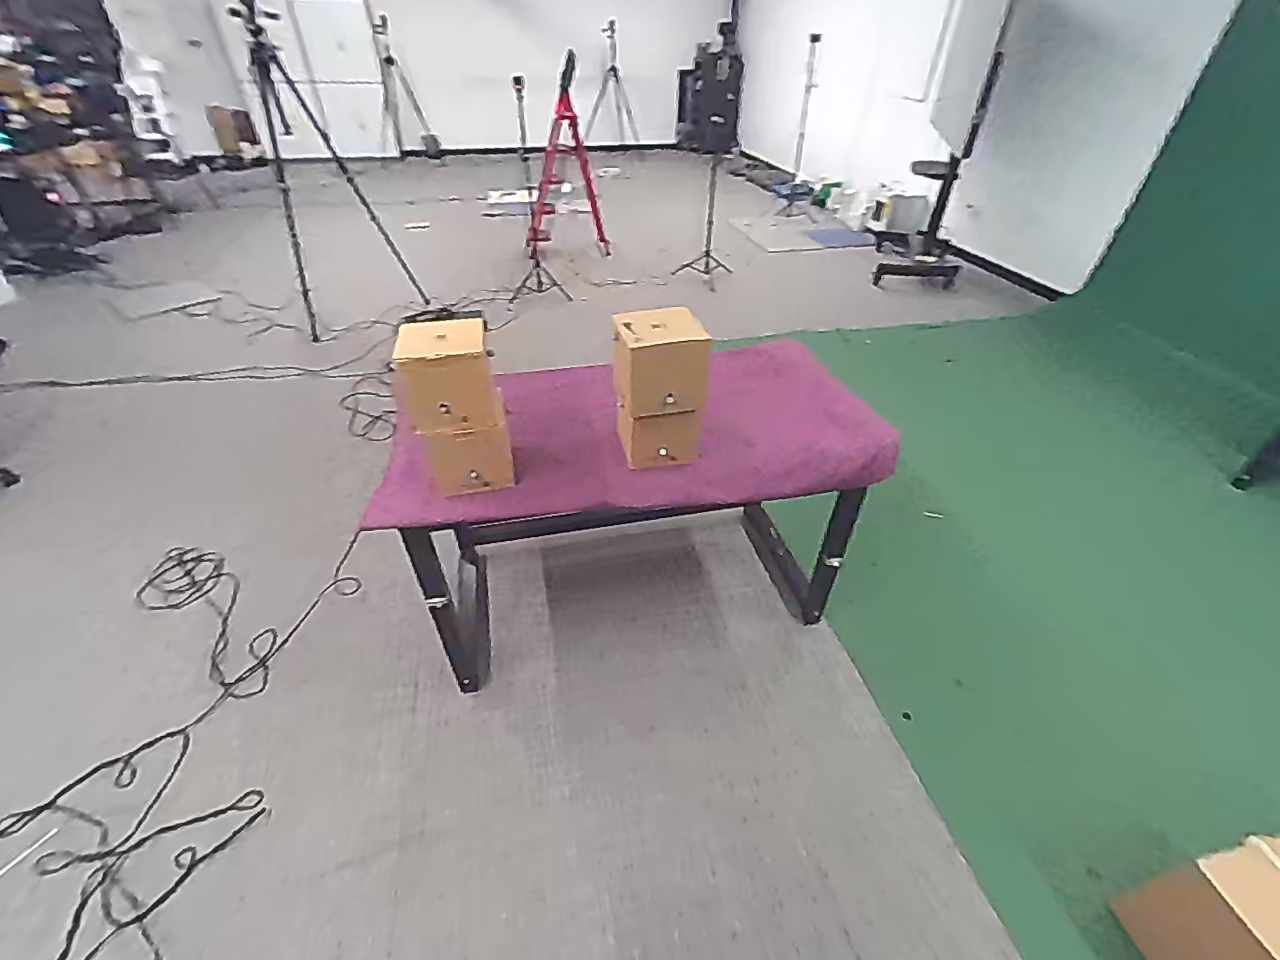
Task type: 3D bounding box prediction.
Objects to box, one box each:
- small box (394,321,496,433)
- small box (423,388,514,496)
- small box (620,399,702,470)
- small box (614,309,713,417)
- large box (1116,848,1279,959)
[{"bbox_3d":[-0.395,-0.216,1.123,0.168,0.176,0.179,-8,39,-11],"label":"small box"},{"bbox_3d":[-0.380,-0.087,1.221,0.168,0.176,0.179,-9,39,-11],"label":"small box"},{"bbox_3d":[0.042,-0.146,1.305,0.168,0.176,0.179,-7,40,-9],"label":"small box"},{"bbox_3d":[0.042,-0.255,1.180,0.179,0.176,0.168,-9,40,-12],"label":"small box"},{"bbox_3d":[1.254,0.967,1.003,0.320,0.320,0.408,-7,40,-8],"label":"large box"}]
